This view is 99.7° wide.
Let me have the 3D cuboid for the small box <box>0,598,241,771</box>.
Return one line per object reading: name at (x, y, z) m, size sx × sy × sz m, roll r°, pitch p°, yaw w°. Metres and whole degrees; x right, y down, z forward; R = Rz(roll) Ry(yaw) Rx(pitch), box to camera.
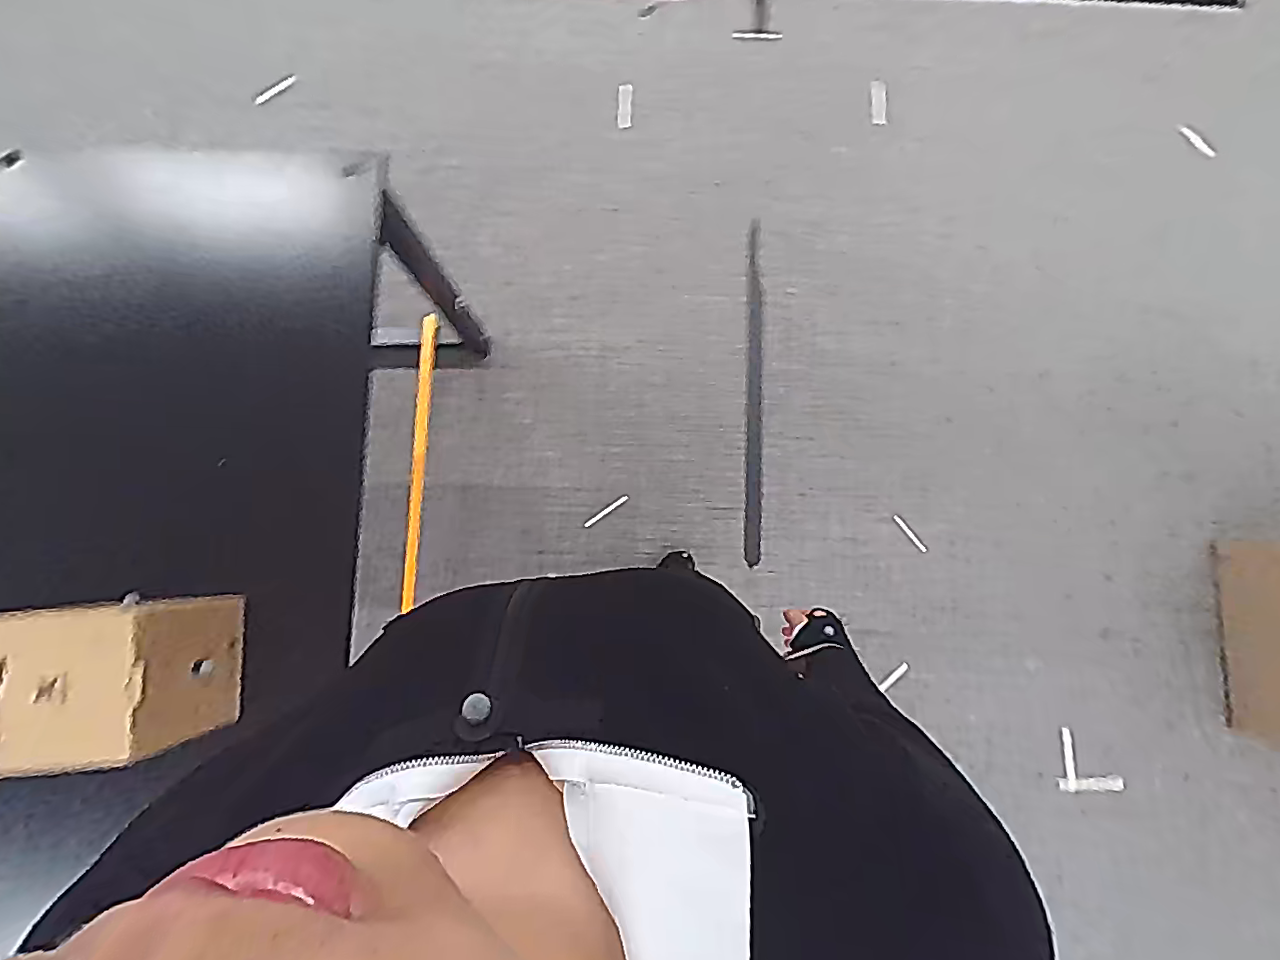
small box at (-0.641, 0.241, 0.676) m, size 0.179 × 0.176 × 0.168 m, roll -4°, pitch 82°, yaw -1°
